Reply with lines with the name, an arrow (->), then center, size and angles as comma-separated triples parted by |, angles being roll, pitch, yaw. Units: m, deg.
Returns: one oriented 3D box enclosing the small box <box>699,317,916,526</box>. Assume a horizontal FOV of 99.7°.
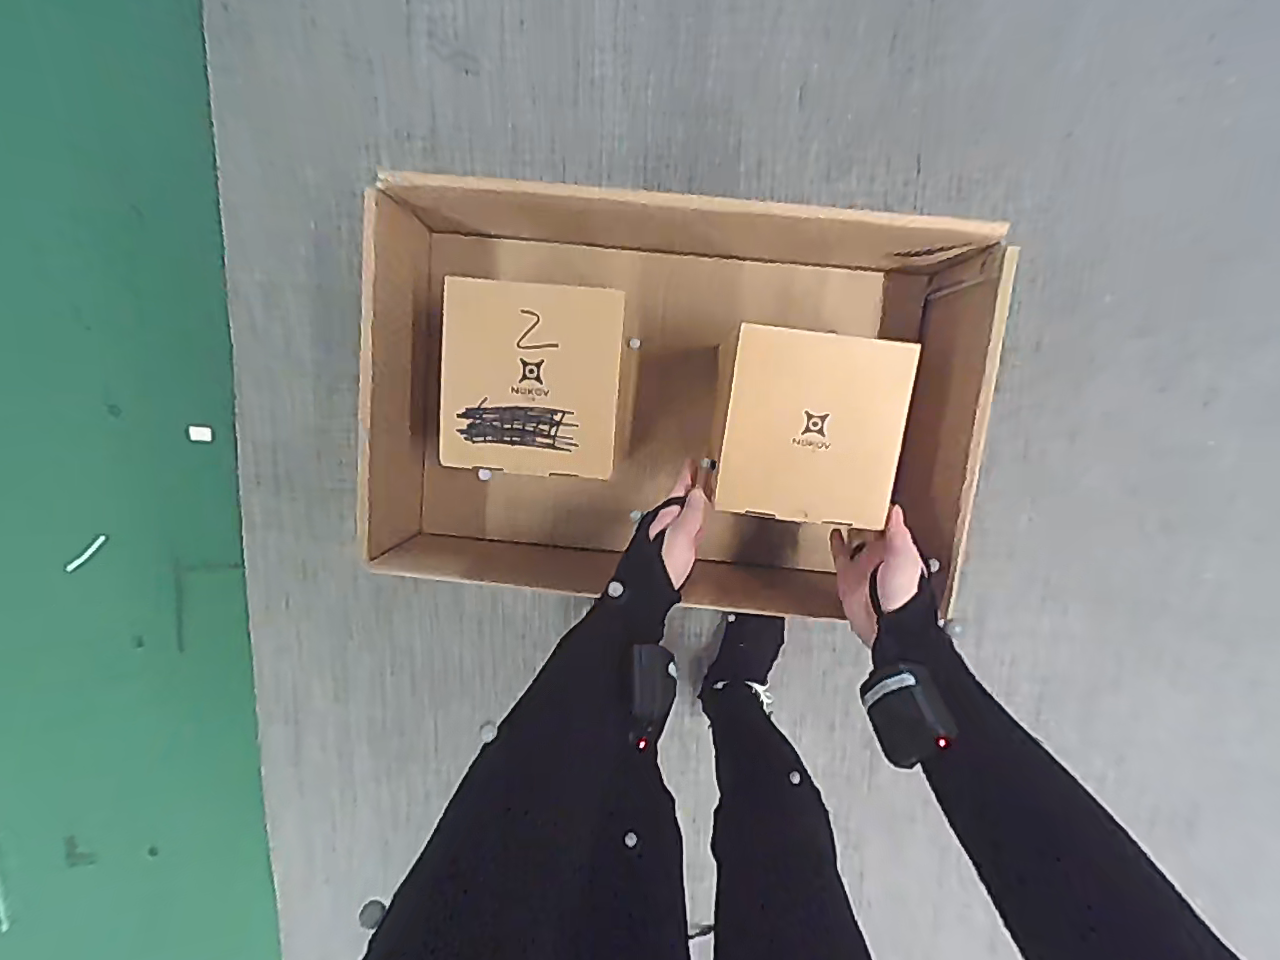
small box -> 0.158, -0.064, 0.574 | 0.168, 0.176, 0.179 | 7, 100, 1
